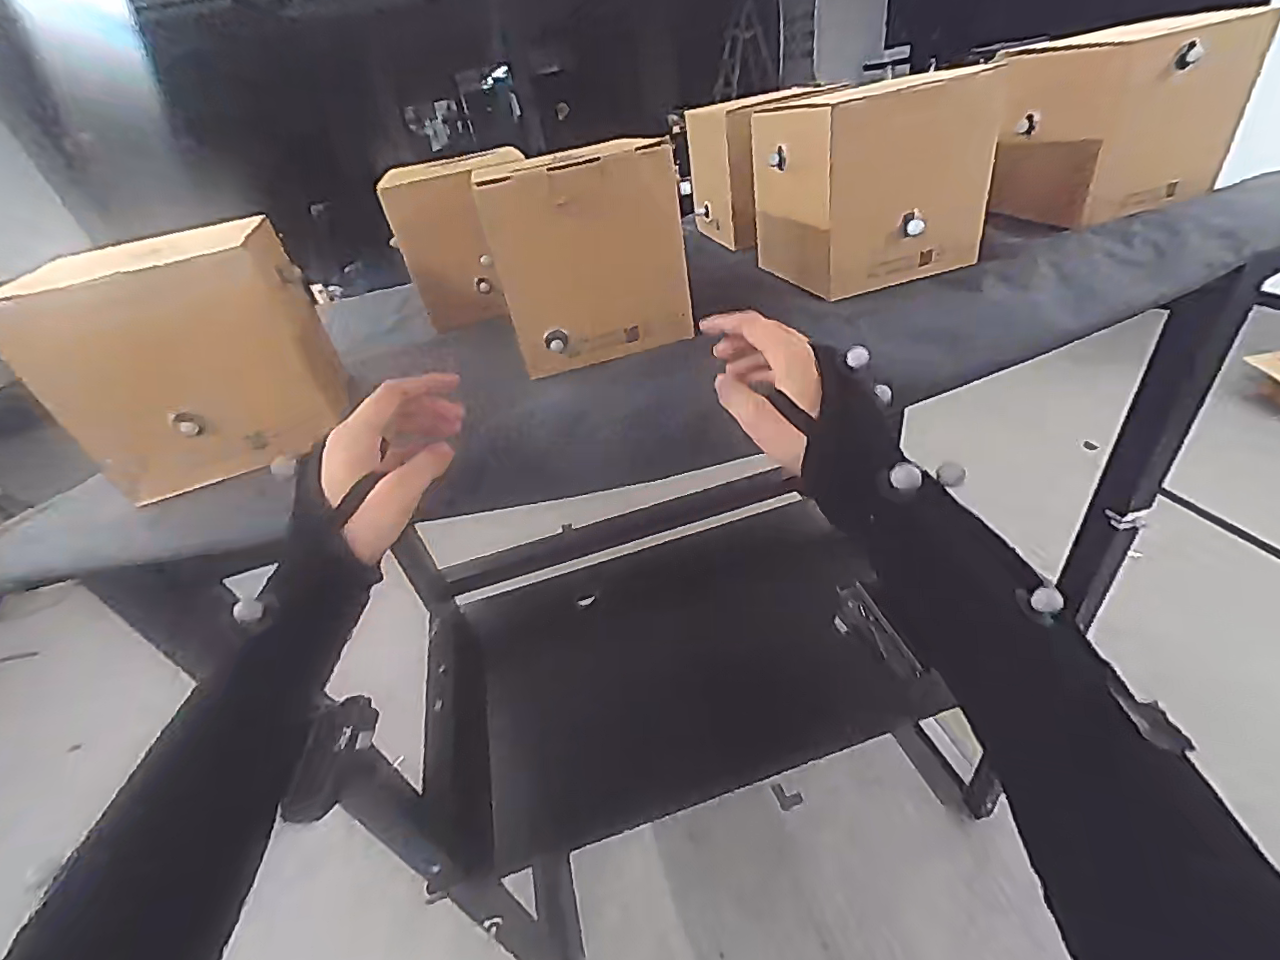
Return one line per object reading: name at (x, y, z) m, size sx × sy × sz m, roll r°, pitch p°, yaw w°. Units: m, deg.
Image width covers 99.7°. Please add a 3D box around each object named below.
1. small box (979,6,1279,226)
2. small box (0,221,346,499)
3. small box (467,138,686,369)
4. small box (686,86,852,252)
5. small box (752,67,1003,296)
small box at (0.519, -0.400, 0.613) m, size 0.168 × 0.176 × 0.179 m, roll -15°, pitch 35°, yaw -3°
small box at (-0.381, -0.112, 0.476) m, size 0.168 × 0.176 × 0.179 m, roll -22°, pitch 38°, yaw -15°
small box at (-0.061, -0.224, 0.539) m, size 0.168 × 0.176 × 0.179 m, roll -16°, pitch 35°, yaw -6°
small box at (0.176, -0.444, 0.772) m, size 0.179 × 0.176 × 0.168 m, roll -15°, pitch 35°, yaw -5°
small box at (0.228, -0.307, 0.568) m, size 0.168 × 0.176 × 0.179 m, roll -16°, pitch 35°, yaw -5°
